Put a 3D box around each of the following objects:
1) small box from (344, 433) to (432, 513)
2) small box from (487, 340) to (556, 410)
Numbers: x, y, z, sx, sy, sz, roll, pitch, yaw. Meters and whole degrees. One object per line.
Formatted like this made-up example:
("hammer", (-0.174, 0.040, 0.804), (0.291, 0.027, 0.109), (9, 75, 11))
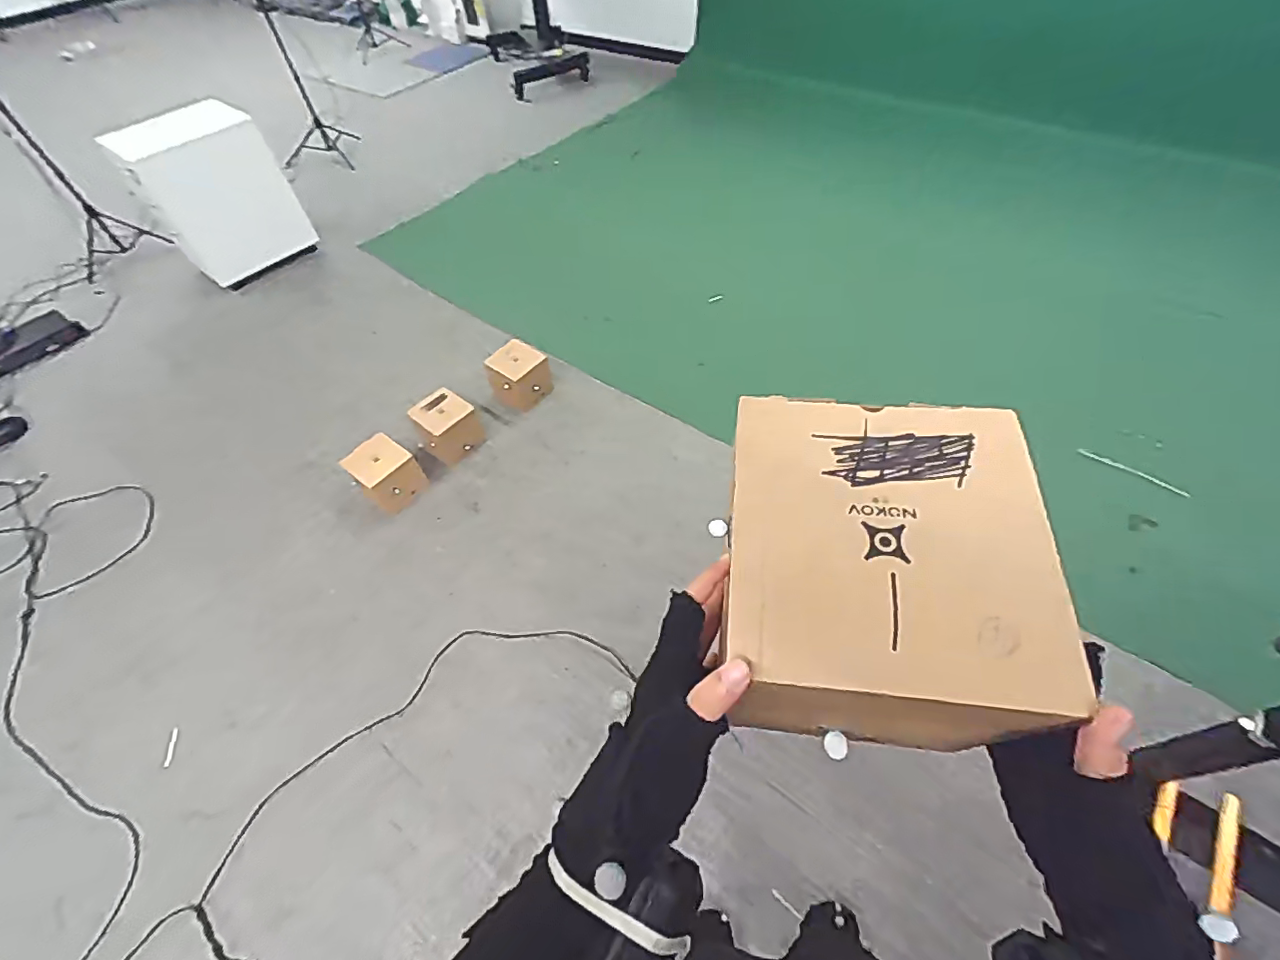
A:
("small box", (-0.818, -0.017, 1.776), (0.179, 0.176, 0.168), (31, 61, 24))
("small box", (-0.439, -0.387, 2.034), (0.179, 0.176, 0.168), (31, 60, 23))
